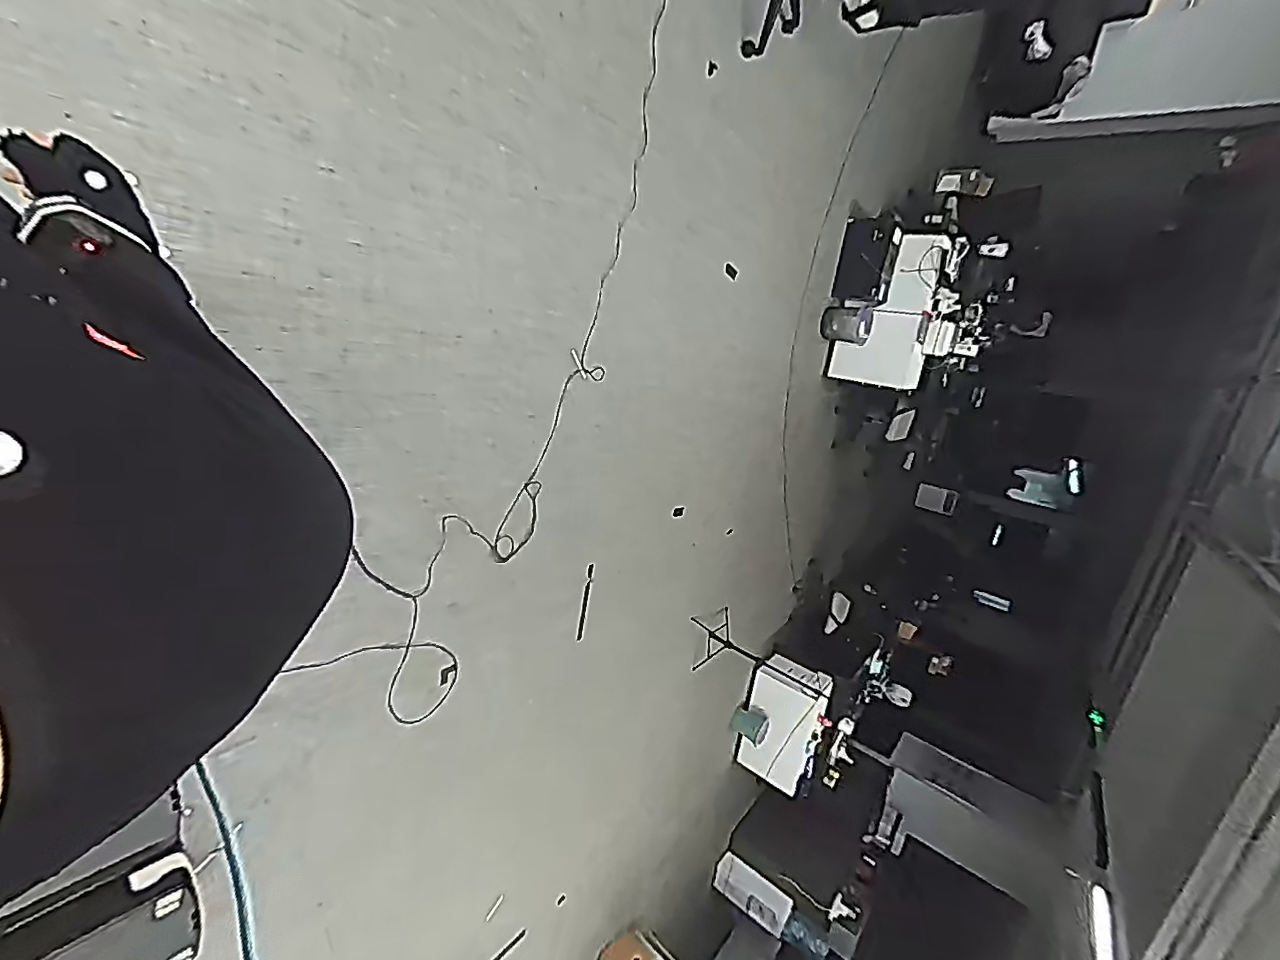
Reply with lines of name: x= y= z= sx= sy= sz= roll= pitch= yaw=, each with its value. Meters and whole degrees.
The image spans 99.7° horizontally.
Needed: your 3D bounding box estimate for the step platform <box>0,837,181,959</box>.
step platform: x=-1.399 y=1.100 z=1.120 sx=0.684 sy=0.204 sz=0.286 roll=-12 pitch=116 yaw=-50
